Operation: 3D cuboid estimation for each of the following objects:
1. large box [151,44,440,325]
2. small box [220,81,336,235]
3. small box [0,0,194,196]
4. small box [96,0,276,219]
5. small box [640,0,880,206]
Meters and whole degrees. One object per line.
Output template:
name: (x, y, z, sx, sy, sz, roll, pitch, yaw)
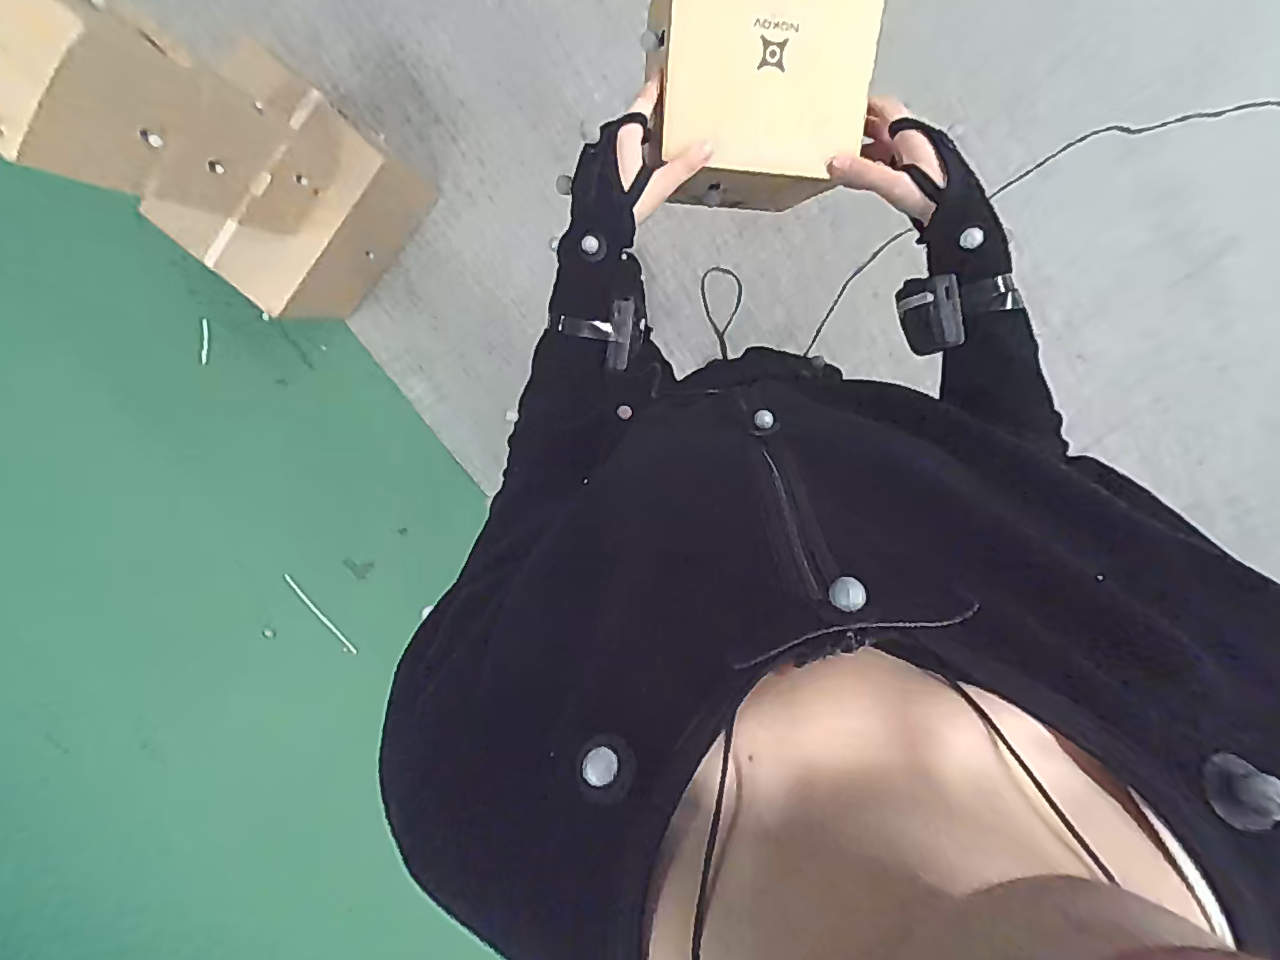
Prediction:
large box: (-0.726, -0.602, 1.196, 0.320, 0.320, 0.408, 41, 103, -9)
small box: (-0.687, -0.561, 0.955, 0.179, 0.176, 0.168, 41, 101, -10)
small box: (-0.688, -0.479, 0.637, 0.168, 0.176, 0.179, 41, 100, -10)
small box: (-0.686, -0.522, 0.796, 0.168, 0.176, 0.179, 40, 101, -10)
small box: (0.091, -0.360, 0.486, 0.168, 0.176, 0.179, 2, 106, -6)
